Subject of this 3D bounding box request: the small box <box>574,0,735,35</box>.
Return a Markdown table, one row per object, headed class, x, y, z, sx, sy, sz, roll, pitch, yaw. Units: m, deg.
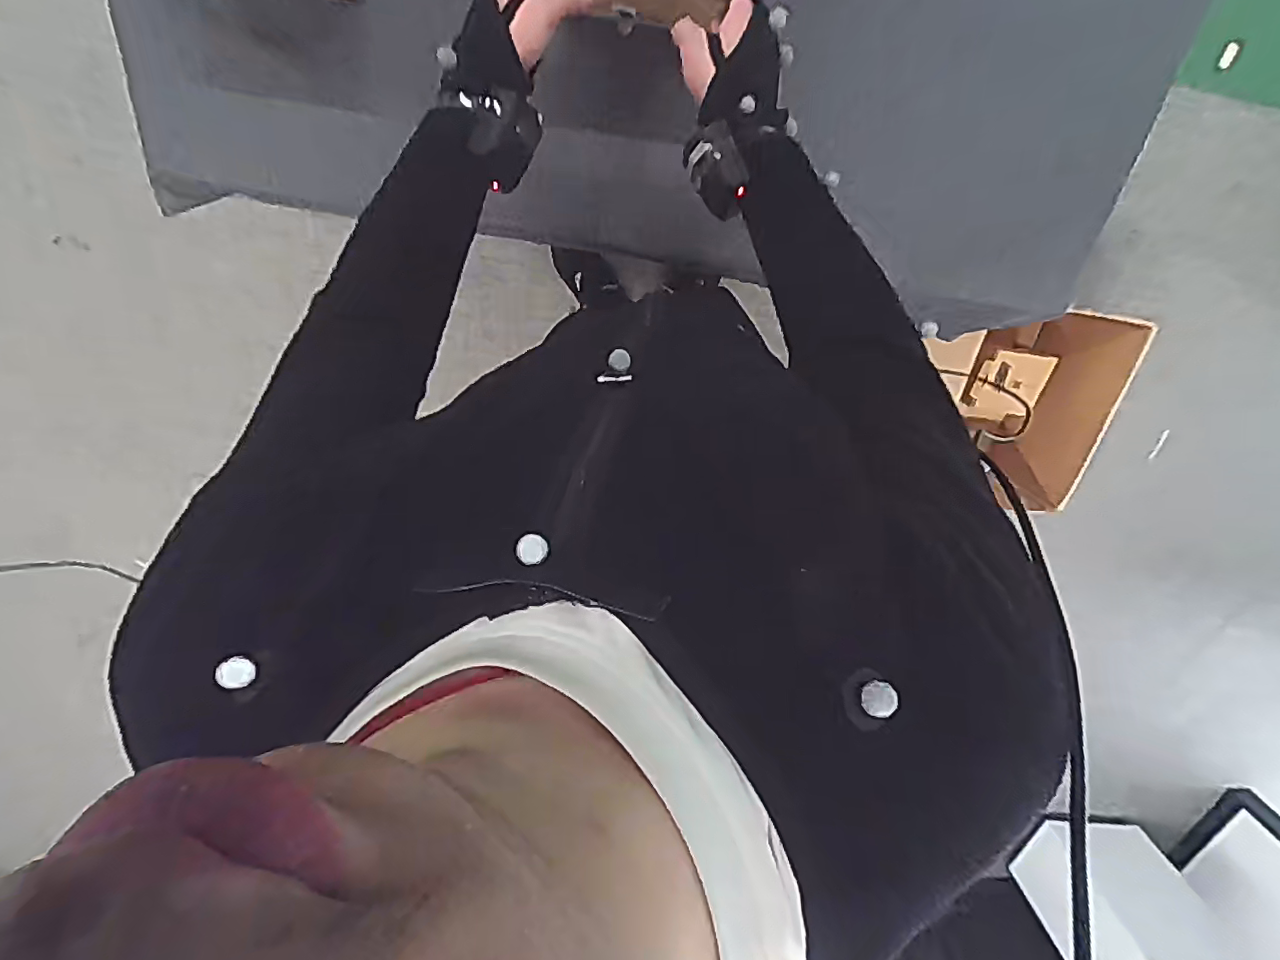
| class | x | y | z | sx | sy | sz | roll | pitch | yaw |
| --- | --- | --- | --- | --- | --- | --- | --- | --- | --- |
| small box | 0.016 | -0.543 | 0.486 | 0.168 | 0.176 | 0.179 | 5 | 117 | -5 |
